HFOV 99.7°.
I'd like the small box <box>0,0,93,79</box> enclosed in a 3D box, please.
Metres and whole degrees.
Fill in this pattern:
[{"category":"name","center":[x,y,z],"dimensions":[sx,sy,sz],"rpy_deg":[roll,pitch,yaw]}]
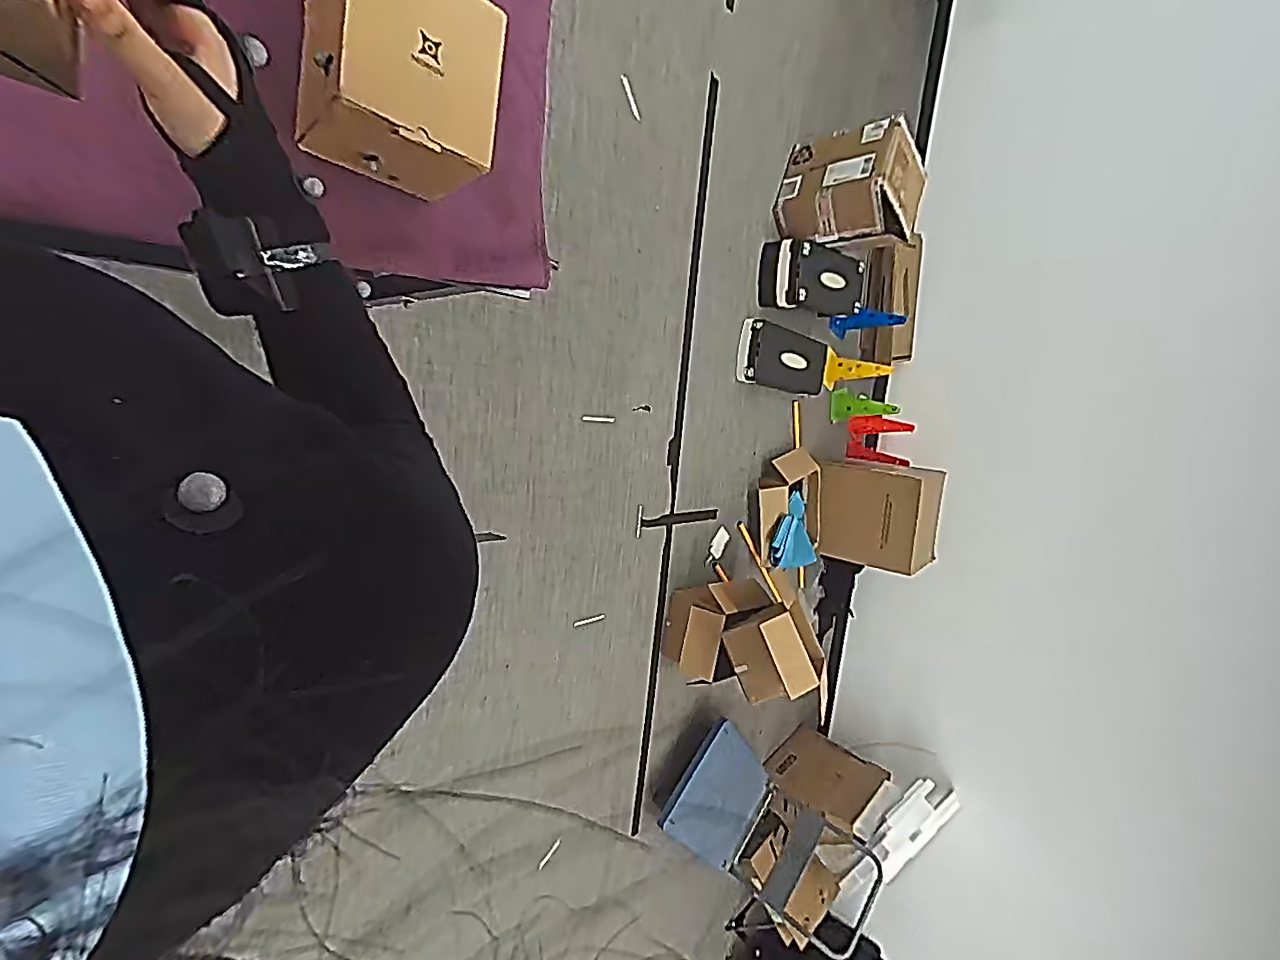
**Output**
[{"category":"small box","center":[-0.366,-0.322,0.240],"dimensions":[0.168,0.179,0.176],"rpy_deg":[2,103,-43]}]

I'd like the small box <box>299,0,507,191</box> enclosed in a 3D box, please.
[{"category":"small box","center":[-0.276,-0.468,0.624],"dimensions":[0.168,0.176,0.179],"rpy_deg":[3,98,-45]}]
